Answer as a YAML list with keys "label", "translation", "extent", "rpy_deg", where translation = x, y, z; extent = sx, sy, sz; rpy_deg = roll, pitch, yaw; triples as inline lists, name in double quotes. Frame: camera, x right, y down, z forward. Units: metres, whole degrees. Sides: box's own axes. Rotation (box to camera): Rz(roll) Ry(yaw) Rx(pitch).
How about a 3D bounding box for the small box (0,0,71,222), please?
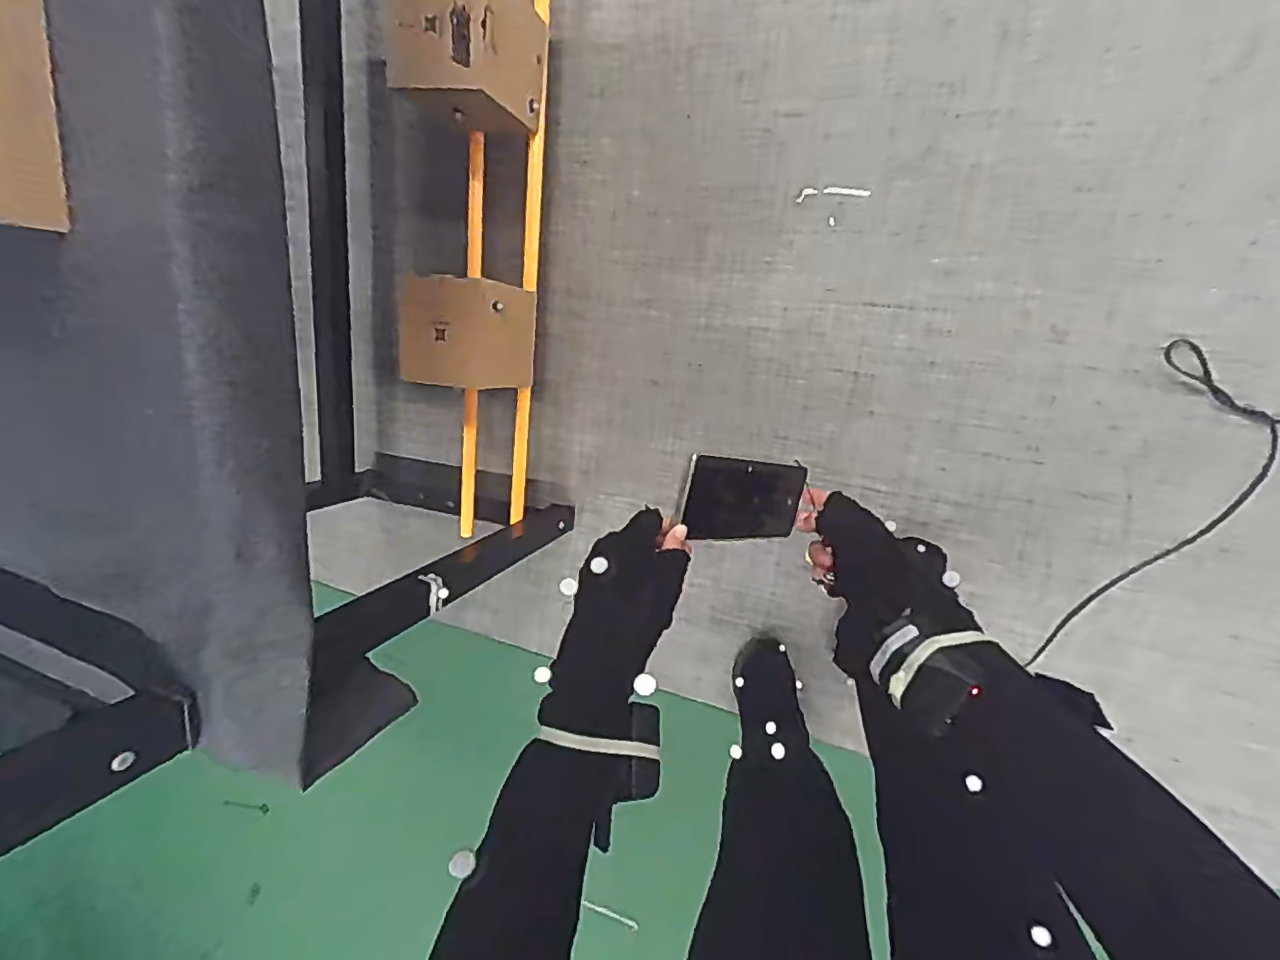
- label: "small box"
  translation: [-0.549, -0.293, 0.375]
  extent: [0.168, 0.176, 0.179]
  rpy_deg: [13, 105, 18]

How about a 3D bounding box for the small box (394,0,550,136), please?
- label: "small box"
  translation: [-0.262, -0.676, 0.868]
  extent: [0.179, 0.176, 0.168]
  rpy_deg: [14, 105, 17]
